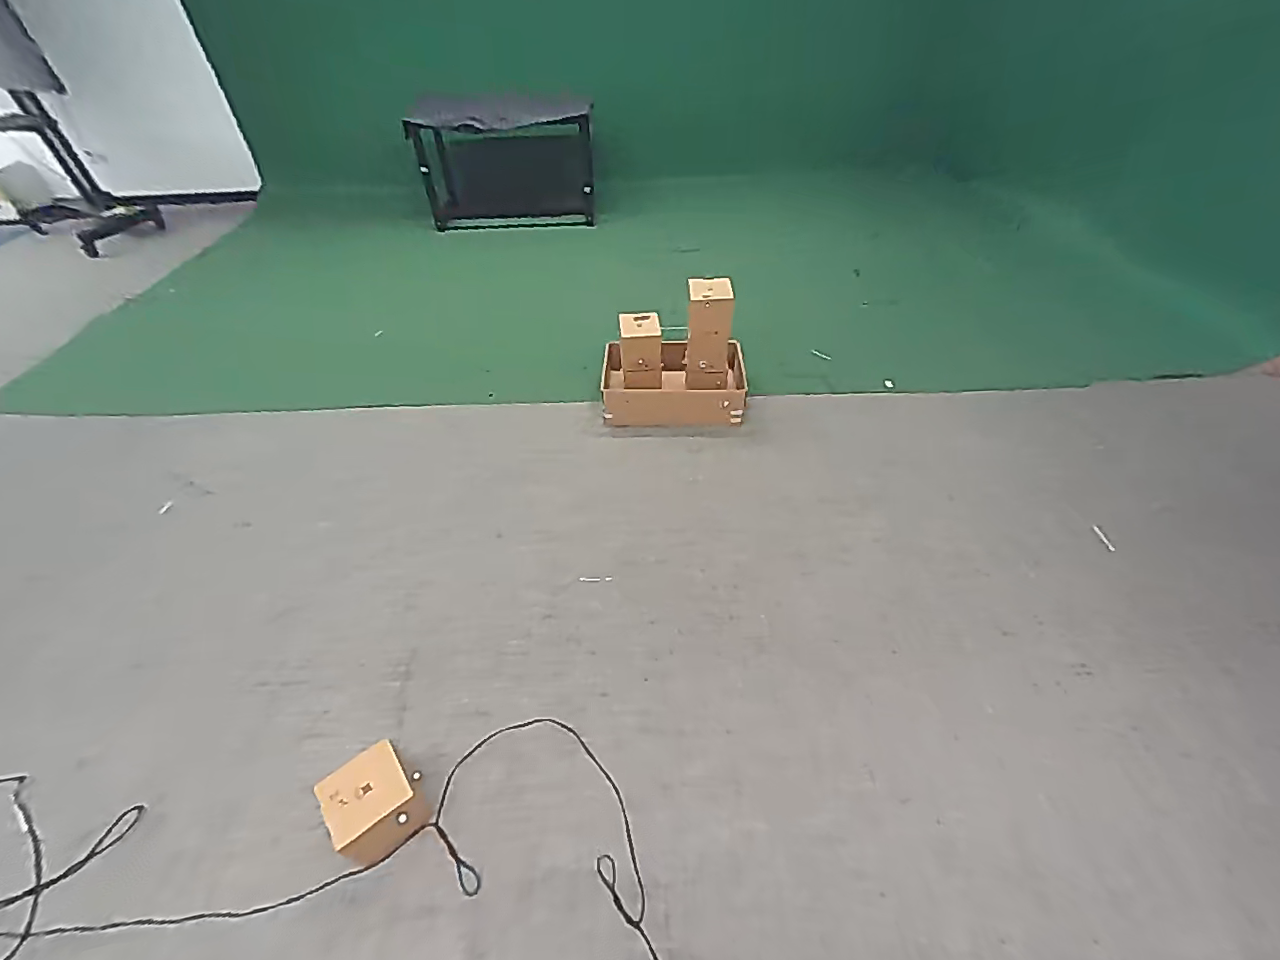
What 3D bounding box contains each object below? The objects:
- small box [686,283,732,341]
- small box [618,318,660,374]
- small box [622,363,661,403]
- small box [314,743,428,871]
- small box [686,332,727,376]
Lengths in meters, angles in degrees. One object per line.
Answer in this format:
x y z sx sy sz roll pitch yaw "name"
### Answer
0.272 -0.676 2.172 0.168 0.176 0.179 -2 44 2 "small box"
-0.007 -0.574 2.311 0.168 0.176 0.179 -4 47 -3 "small box"
0.003 -0.466 2.436 0.168 0.176 0.179 -3 46 -2 "small box"
-0.619 0.766 1.267 0.179 0.176 0.168 -31 50 -26 "small box"
0.278 -0.561 2.289 0.168 0.176 0.179 0 46 4 "small box"
